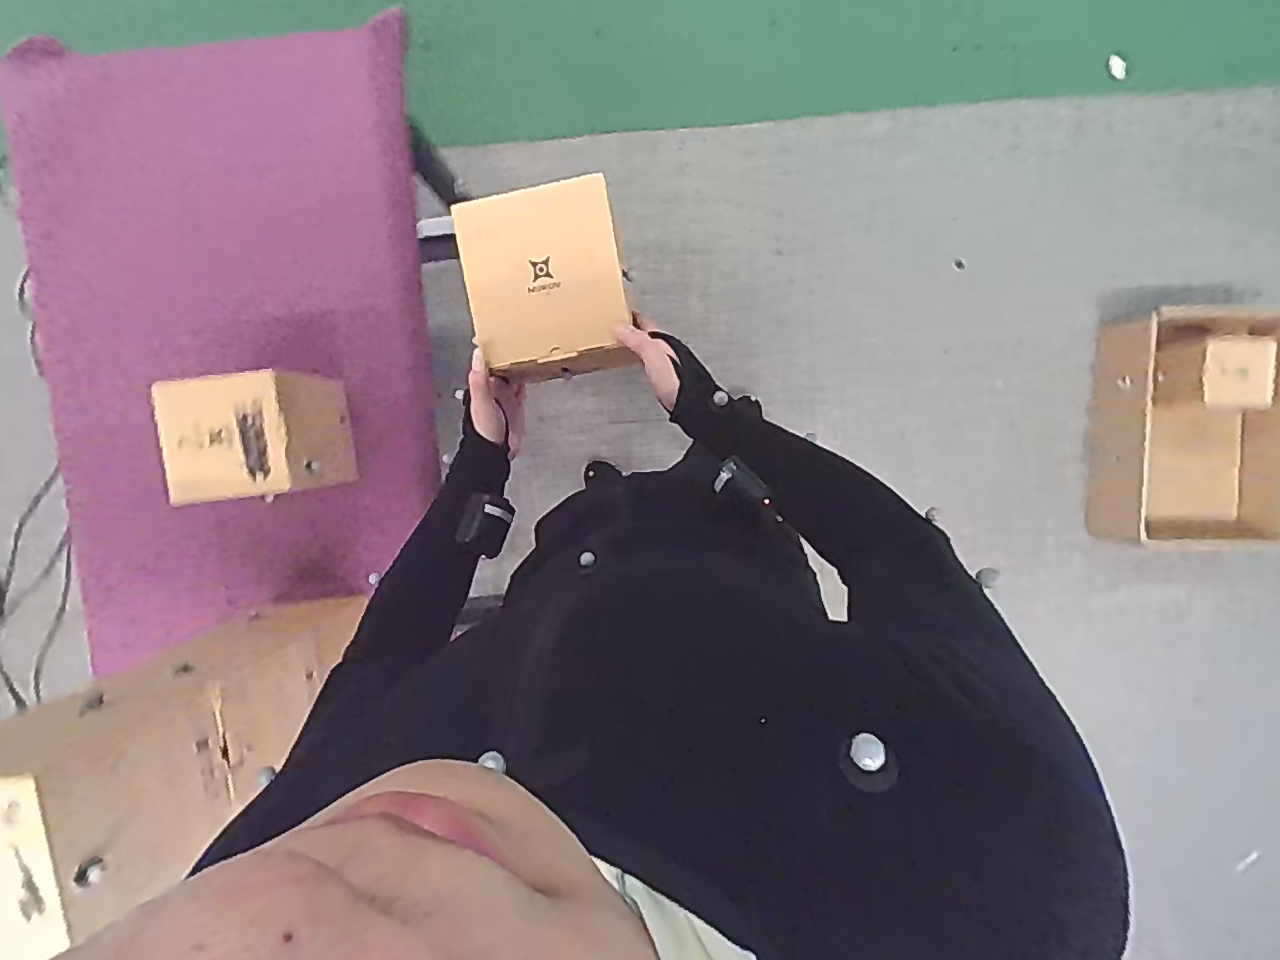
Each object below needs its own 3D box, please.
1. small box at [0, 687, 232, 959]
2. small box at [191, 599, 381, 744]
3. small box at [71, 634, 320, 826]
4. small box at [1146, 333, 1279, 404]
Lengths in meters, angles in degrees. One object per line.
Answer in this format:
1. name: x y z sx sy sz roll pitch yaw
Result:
1. small box: -0.545 0.317 0.516 0.179 0.176 0.168 -7 95 3
2. small box: -0.537 0.294 0.842 0.179 0.176 0.168 -6 94 1
3. small box: -0.533 0.305 0.679 0.179 0.176 0.168 -6 94 3
4. small box: 1.499 -0.289 1.421 0.179 0.176 0.168 0 94 0
